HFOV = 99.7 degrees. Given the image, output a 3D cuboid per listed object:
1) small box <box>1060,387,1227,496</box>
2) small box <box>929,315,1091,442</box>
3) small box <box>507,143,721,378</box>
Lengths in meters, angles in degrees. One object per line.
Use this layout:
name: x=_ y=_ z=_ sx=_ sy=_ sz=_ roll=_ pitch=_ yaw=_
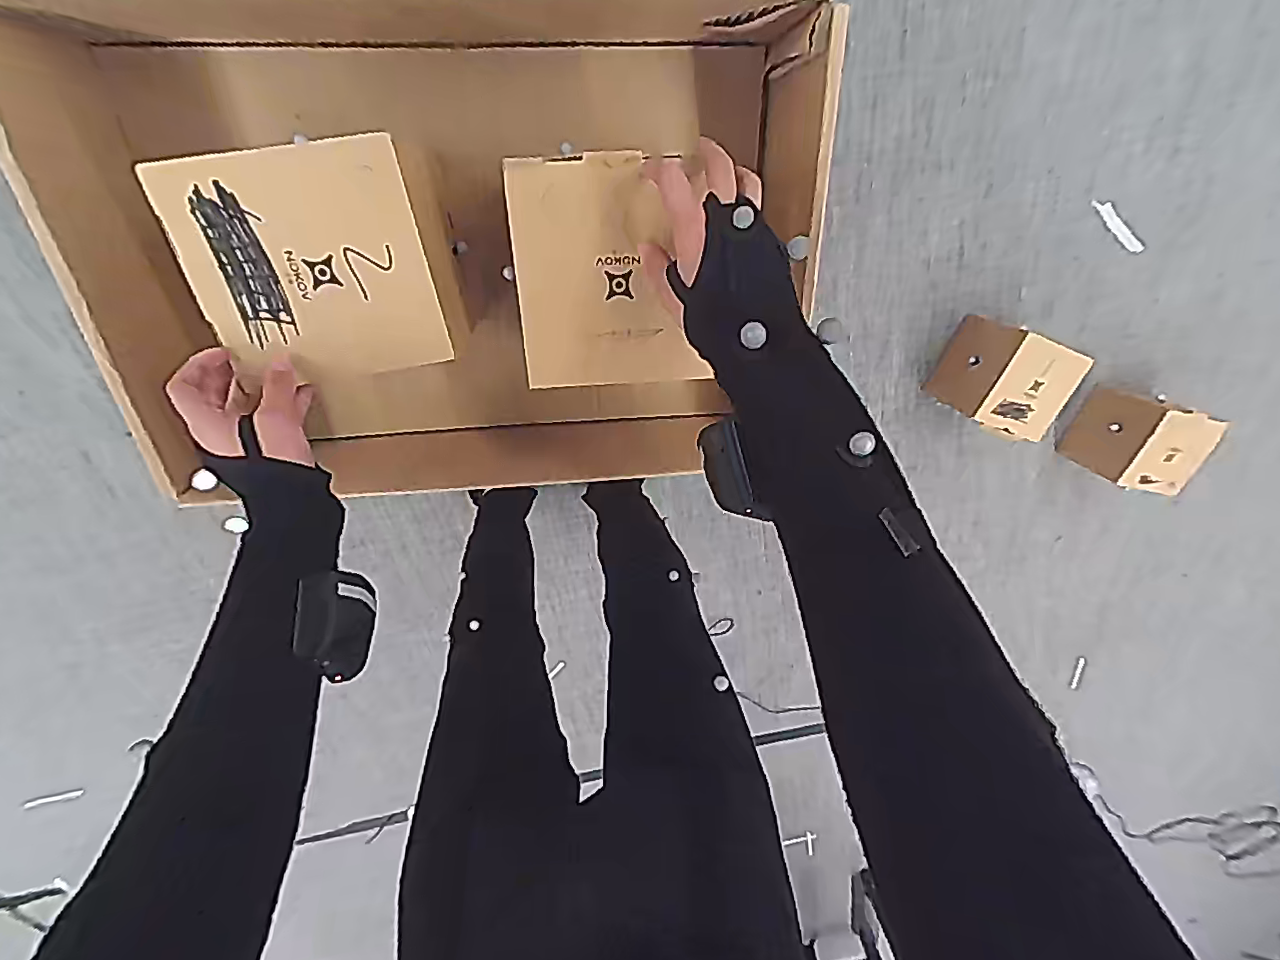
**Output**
small box: x=1.080 y=-0.089 z=1.179 sx=0.168 sy=0.176 sz=0.179 roll=10 pitch=115 yaw=-11
small box: x=0.716 y=-0.206 z=1.075 sx=0.168 sy=0.176 sz=0.179 roll=16 pitch=114 yaw=-15
small box: x=-0.025 y=-0.205 z=0.511 sx=0.168 sy=0.176 sz=0.179 roll=-4 pitch=116 yaw=-3
